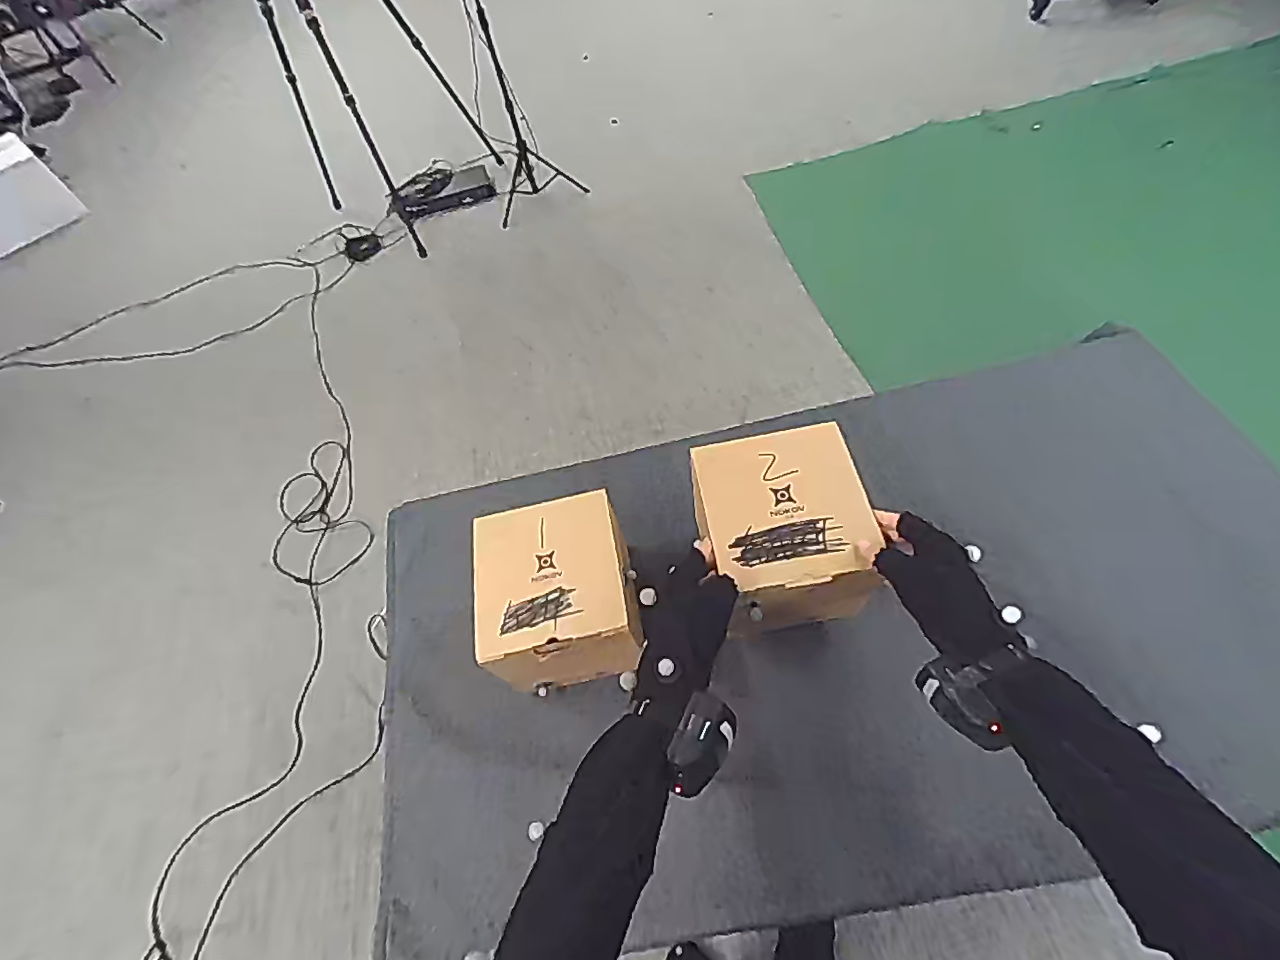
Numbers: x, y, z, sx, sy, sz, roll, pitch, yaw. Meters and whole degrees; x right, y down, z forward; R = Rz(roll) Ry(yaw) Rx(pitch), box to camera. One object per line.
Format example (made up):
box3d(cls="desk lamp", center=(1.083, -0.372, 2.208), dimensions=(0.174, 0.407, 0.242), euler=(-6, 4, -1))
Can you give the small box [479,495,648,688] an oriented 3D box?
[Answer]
box3d(cls="small box", center=(-0.091, 0.148, 0.676), dimensions=(0.168, 0.176, 0.179), euler=(-12, 56, 1))
